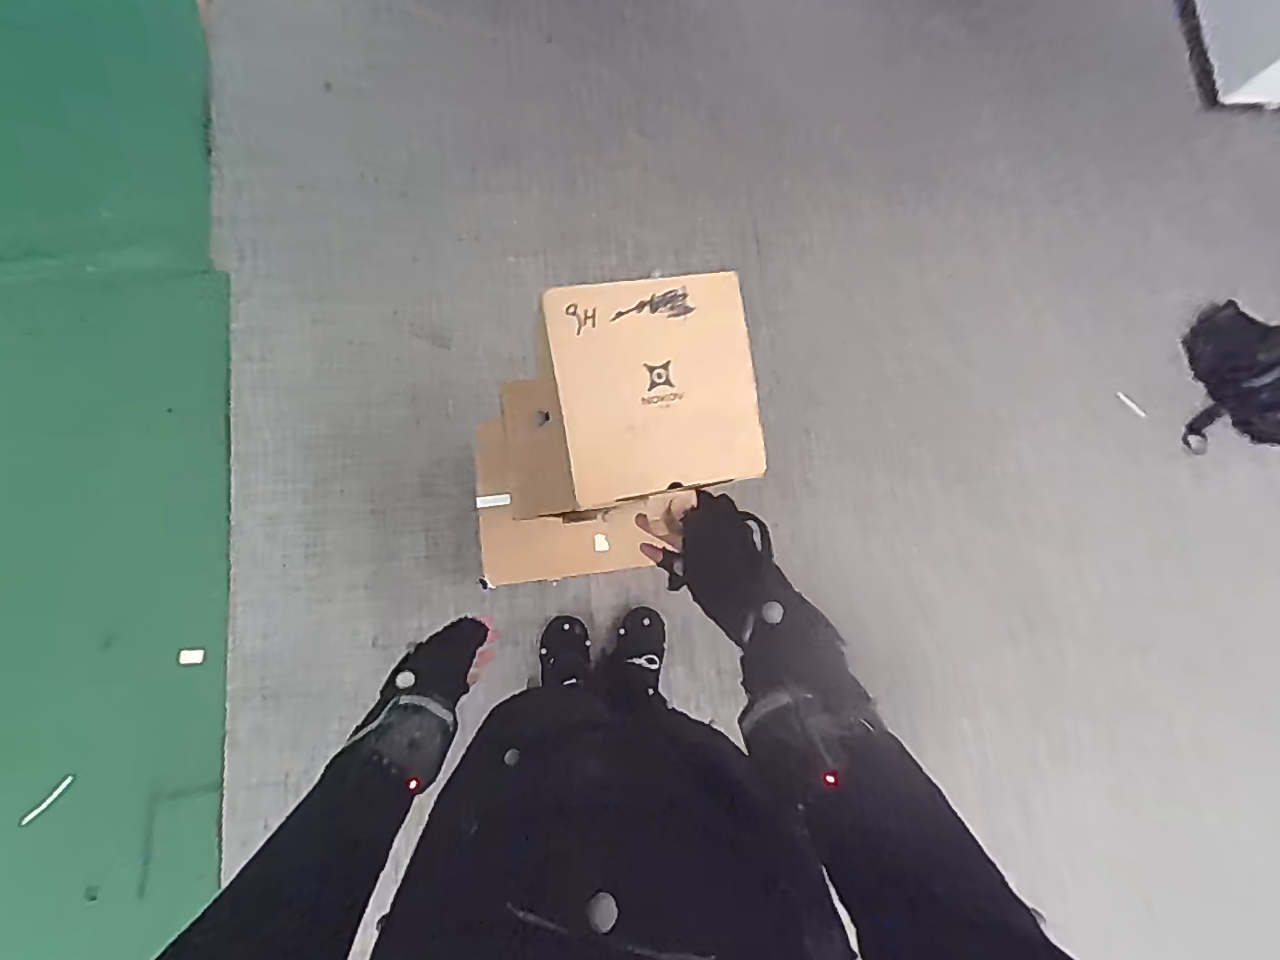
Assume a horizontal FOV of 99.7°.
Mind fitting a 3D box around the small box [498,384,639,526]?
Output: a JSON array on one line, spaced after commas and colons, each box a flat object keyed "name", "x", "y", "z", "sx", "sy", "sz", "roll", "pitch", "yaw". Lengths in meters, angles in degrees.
[{"name": "small box", "x": -0.096, "y": -0.033, "z": 0.762, "sx": 0.168, "sy": 0.176, "sz": 0.179, "roll": -8, "pitch": 86, "yaw": -7}]

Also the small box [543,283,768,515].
[{"name": "small box", "x": 0.003, "y": -0.073, "z": 0.522, "sx": 0.168, "sy": 0.176, "sz": 0.179, "roll": -10, "pitch": 95, "yaw": -13}]
